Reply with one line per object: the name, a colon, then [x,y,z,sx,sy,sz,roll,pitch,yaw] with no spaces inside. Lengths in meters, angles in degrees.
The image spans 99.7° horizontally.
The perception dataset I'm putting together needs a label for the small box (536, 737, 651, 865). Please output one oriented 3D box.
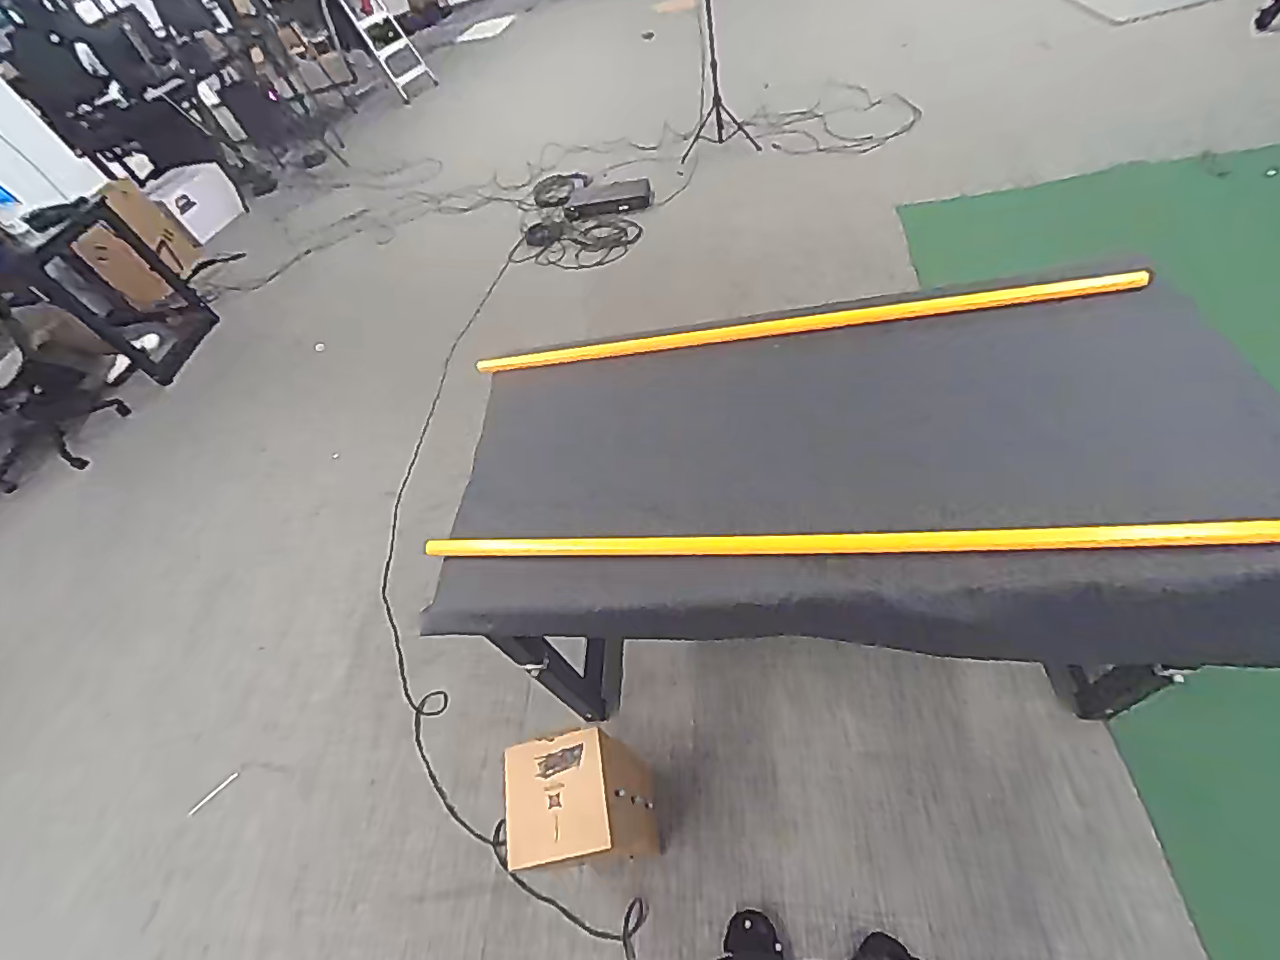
small box: [-0.088,0.633,1.061,0.168,0.176,0.179,-19,51,3]
